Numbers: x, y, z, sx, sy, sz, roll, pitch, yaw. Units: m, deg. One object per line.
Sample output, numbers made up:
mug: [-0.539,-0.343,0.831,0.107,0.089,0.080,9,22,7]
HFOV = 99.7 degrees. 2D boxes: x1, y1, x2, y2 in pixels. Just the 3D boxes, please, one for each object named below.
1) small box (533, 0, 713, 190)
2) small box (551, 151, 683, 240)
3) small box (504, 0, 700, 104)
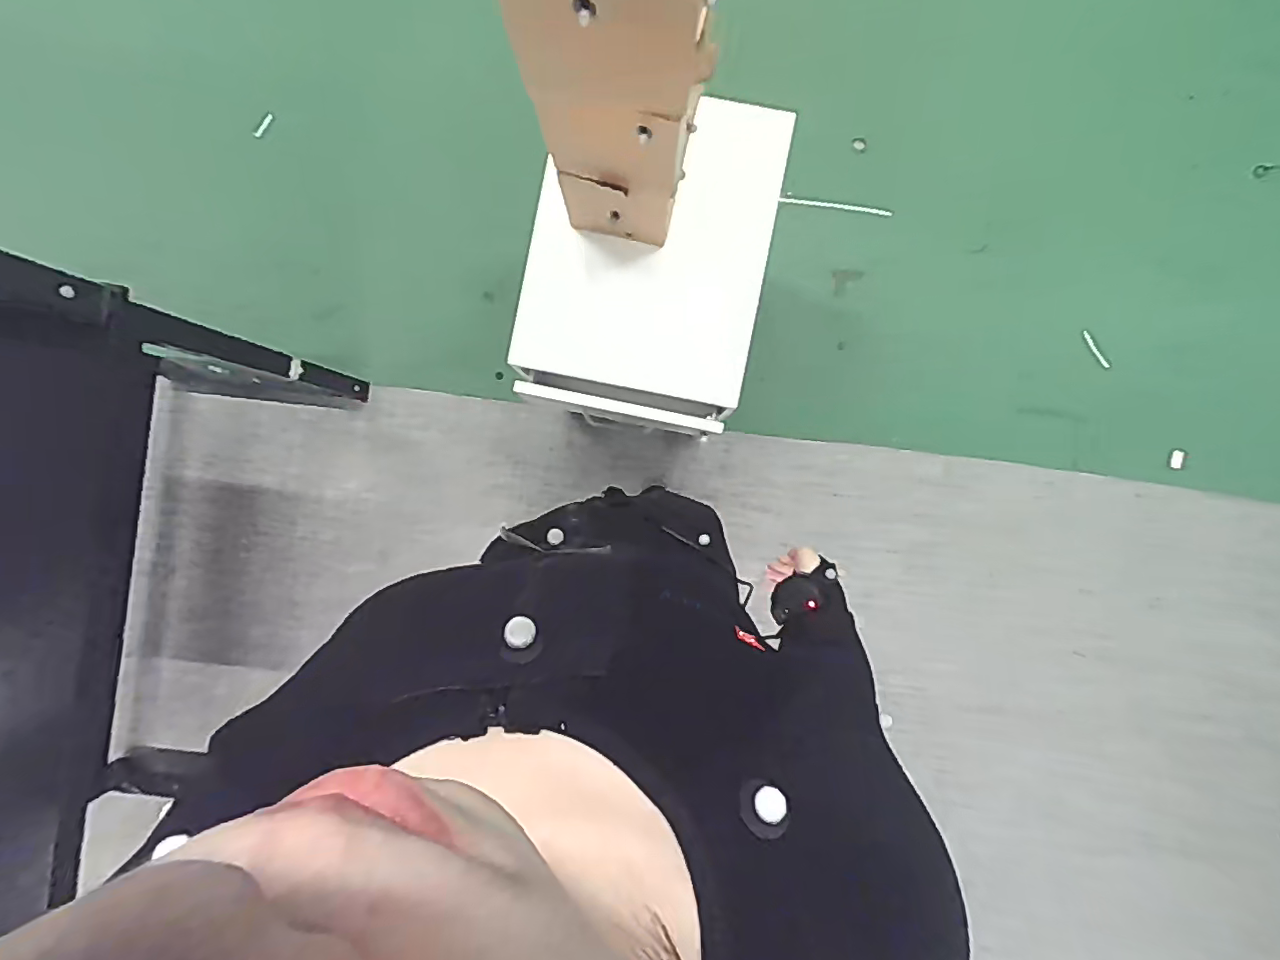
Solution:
small box: [-0.022,-0.486,0.653,0.179,0.176,0.168,15,90,-1]
small box: [-0.024,-0.491,0.816,0.168,0.176,0.179,12,91,0]
small box: [-0.029,-0.480,0.488,0.179,0.176,0.168,7,91,0]
